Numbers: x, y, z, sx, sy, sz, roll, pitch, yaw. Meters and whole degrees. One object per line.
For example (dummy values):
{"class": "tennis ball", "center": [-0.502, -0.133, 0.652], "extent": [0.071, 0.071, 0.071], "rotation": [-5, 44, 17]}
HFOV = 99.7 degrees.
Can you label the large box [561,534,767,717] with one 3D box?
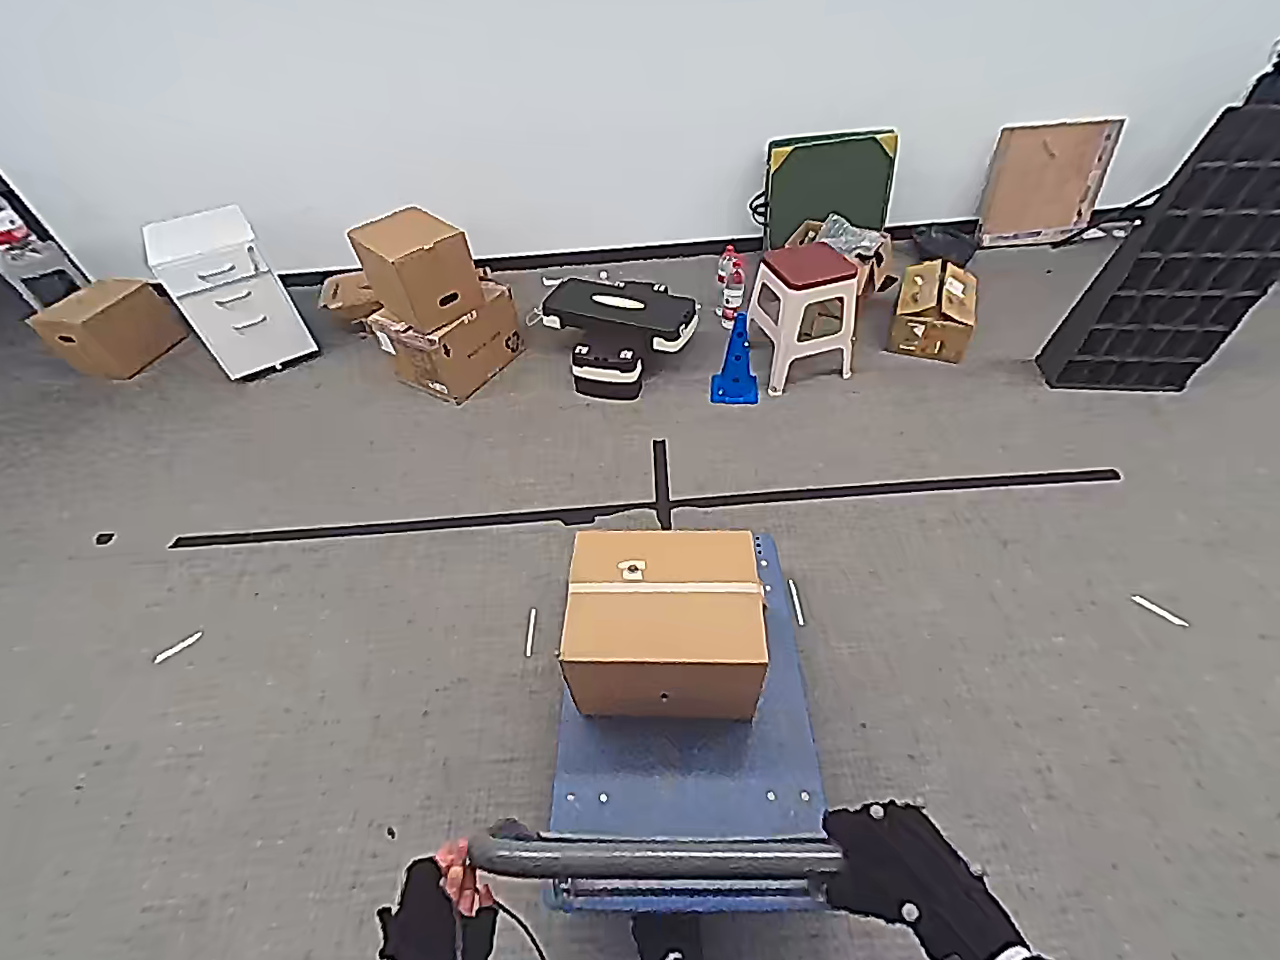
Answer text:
{"class": "large box", "center": [0.059, 0.342, 1.246], "extent": [0.408, 0.320, 0.320], "rotation": [-1, 48, 4]}
